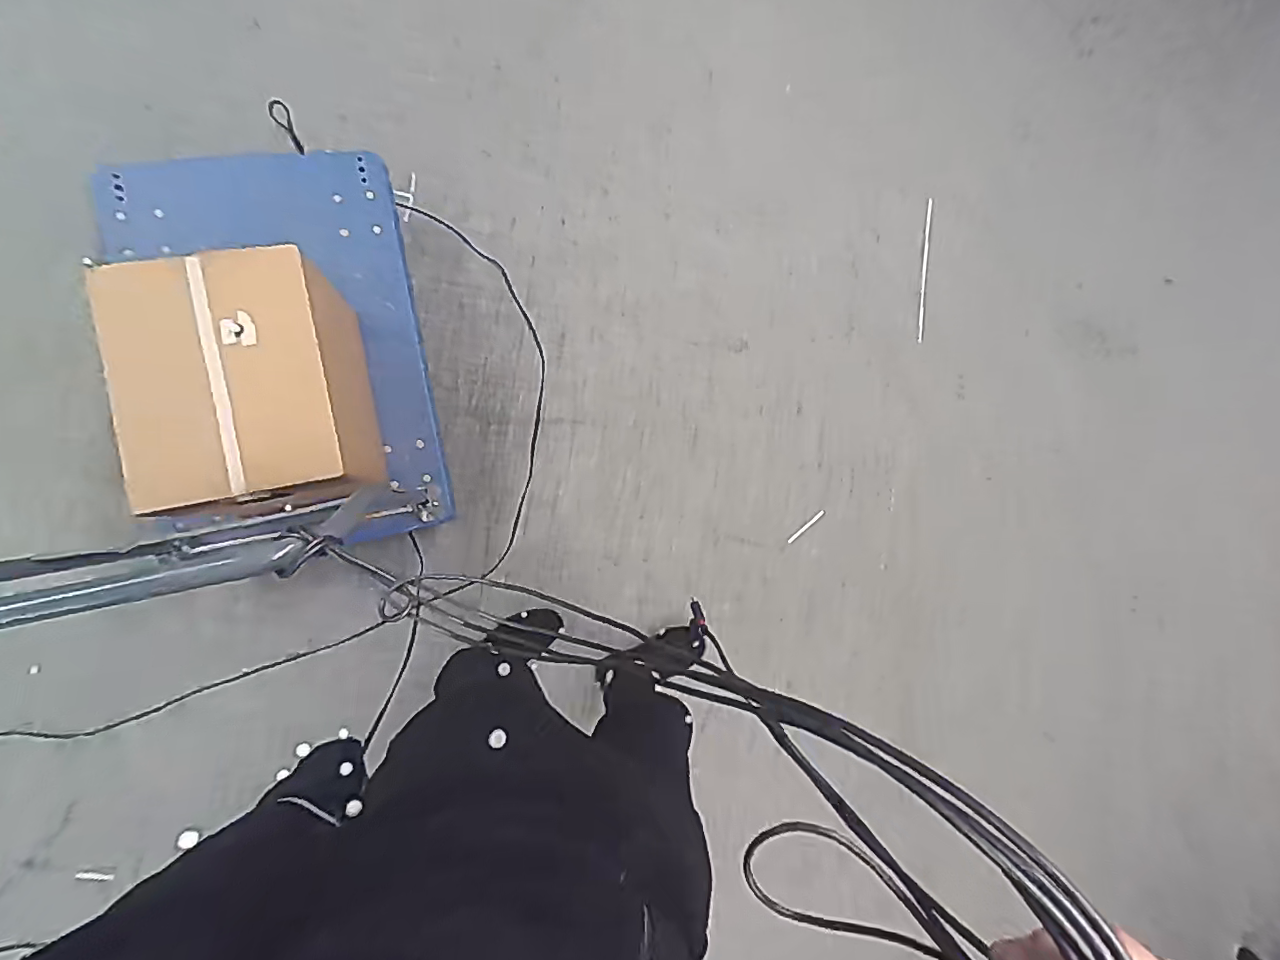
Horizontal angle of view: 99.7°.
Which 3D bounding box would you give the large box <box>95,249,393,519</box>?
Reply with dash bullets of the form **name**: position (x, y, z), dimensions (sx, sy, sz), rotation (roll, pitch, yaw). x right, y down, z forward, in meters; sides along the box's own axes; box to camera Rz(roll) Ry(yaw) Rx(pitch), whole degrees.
- **large box**: position (-0.706, -0.156, 1.028), dimensions (0.320, 0.320, 0.408), rotation (-12, 87, -12)
